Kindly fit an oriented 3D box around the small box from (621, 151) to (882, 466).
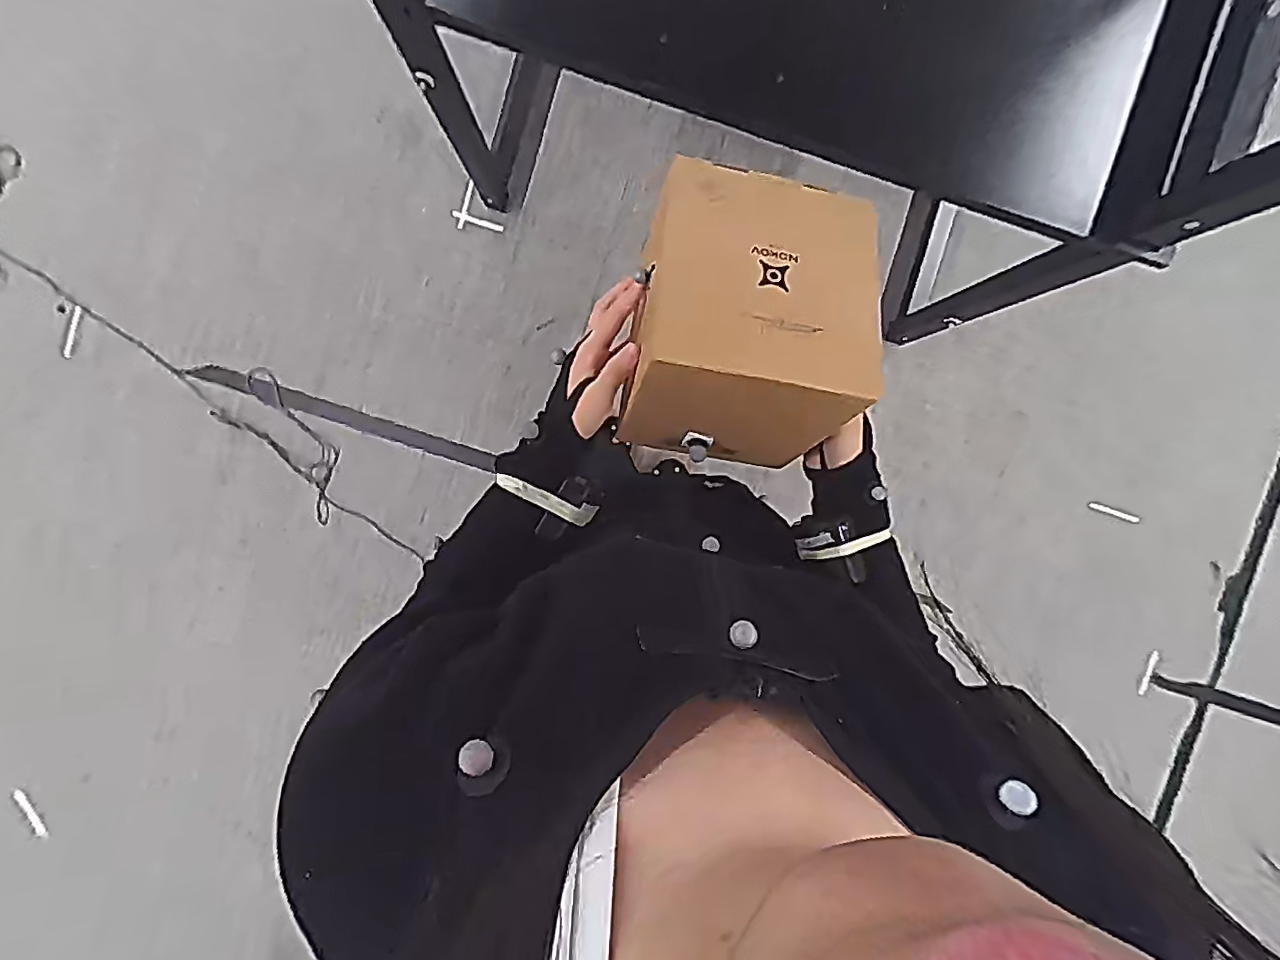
[{"bbox_3d":[0.081,-0.128,0.460,0.168,0.176,0.179,8,73,-8],"label":"small box"}]
